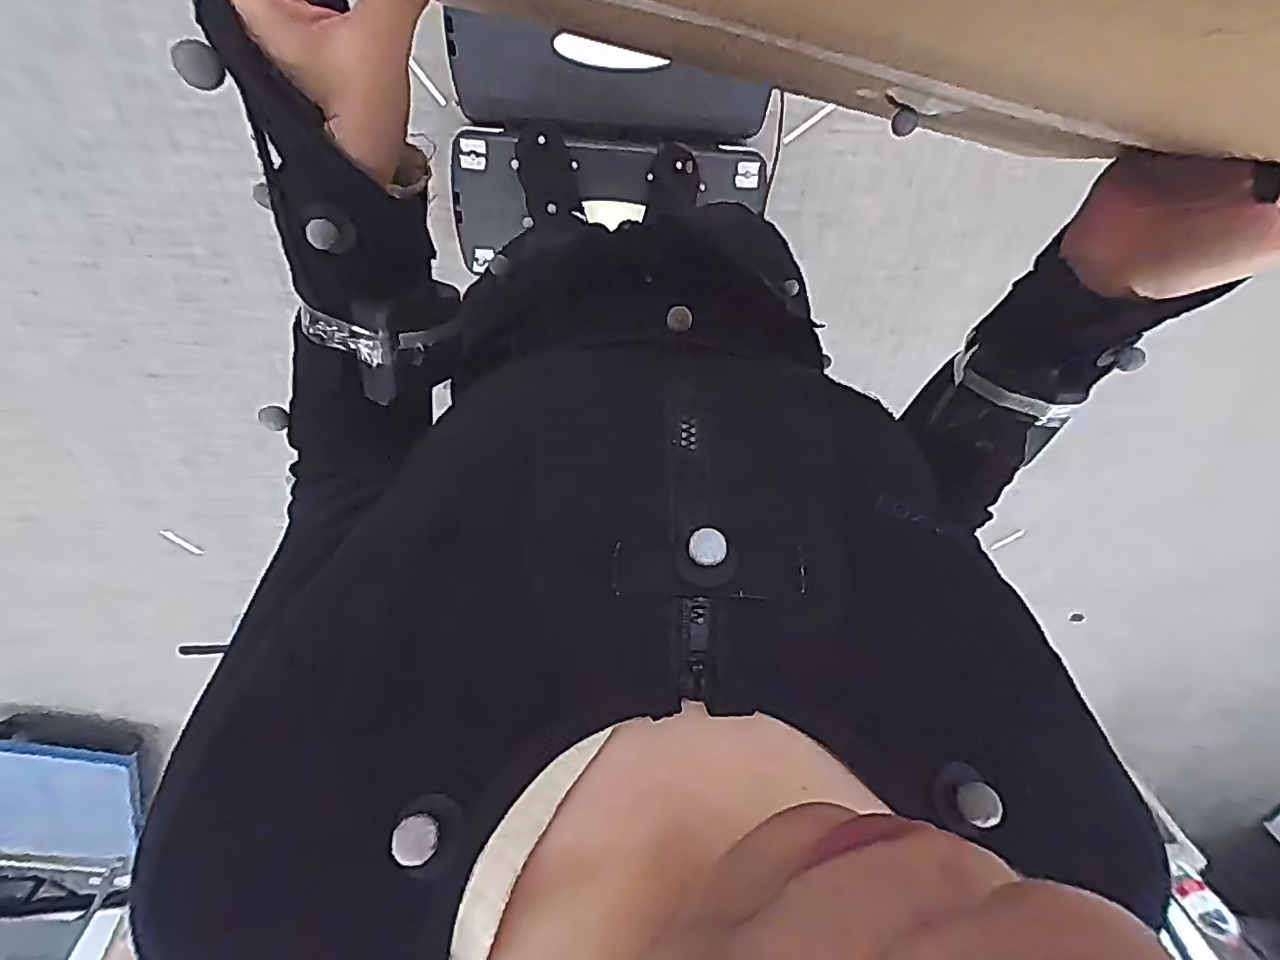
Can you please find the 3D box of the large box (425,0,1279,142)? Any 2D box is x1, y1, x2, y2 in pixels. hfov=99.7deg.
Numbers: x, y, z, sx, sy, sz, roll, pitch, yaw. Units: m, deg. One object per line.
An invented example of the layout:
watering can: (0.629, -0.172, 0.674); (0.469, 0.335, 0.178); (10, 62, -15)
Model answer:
large box: (0.090, -0.312, 0.140); (0.408, 0.320, 0.320); (8, 122, -6)

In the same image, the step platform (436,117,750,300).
step platform: (-0.101, -0.605, 1.232); (0.684, 0.204, 0.286); (5, 123, -8)
